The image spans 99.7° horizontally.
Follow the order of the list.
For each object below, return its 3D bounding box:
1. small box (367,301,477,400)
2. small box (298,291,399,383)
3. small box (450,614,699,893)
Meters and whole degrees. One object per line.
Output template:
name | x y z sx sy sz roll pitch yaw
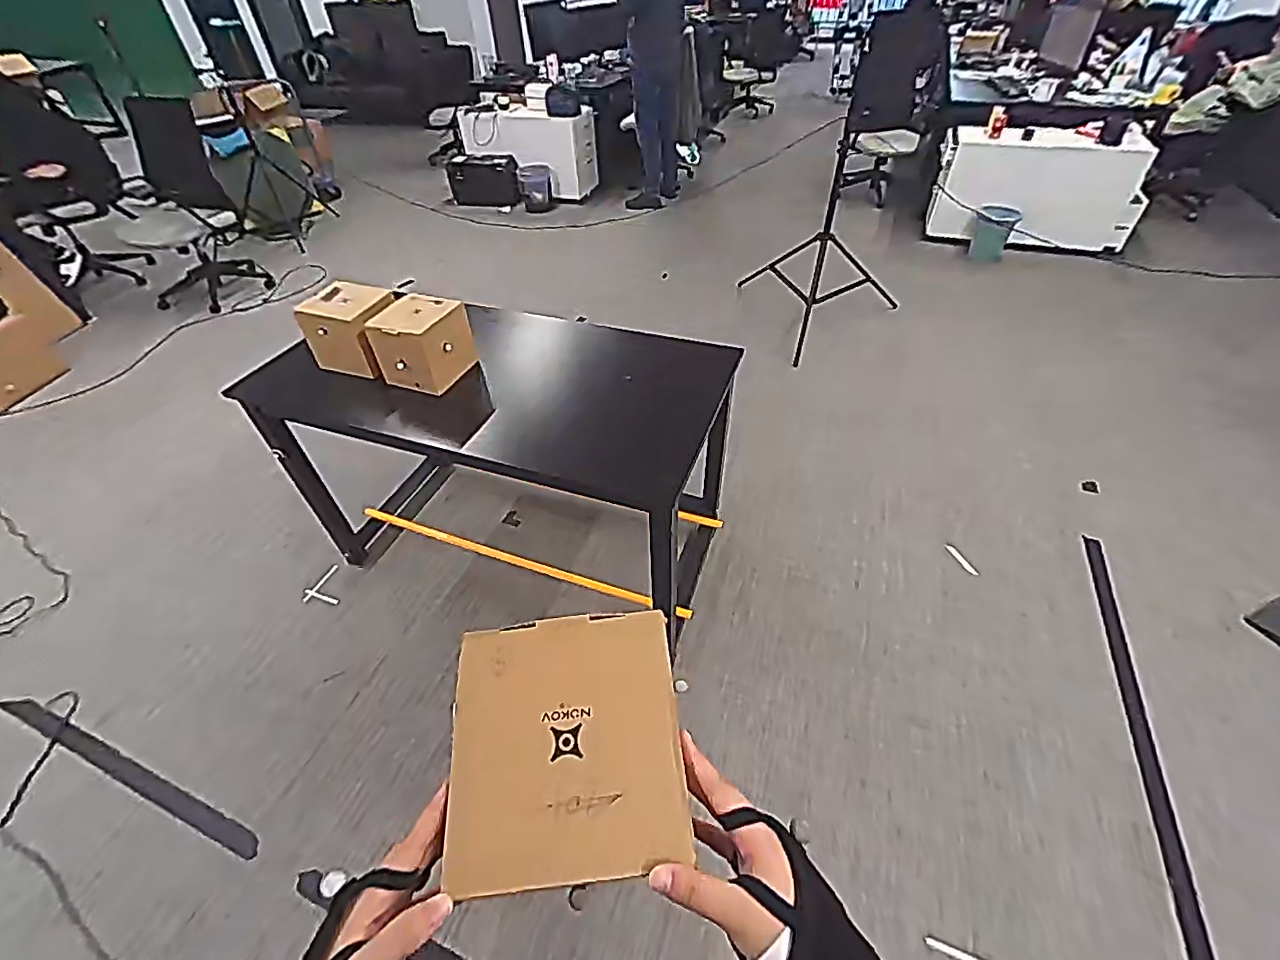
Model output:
small box | -0.537 -0.325 1.362 0.168 0.176 0.179 14 47 16
small box | -0.738 -0.374 1.420 0.179 0.176 0.168 13 46 14
small box | -0.047 0.235 0.463 0.168 0.176 0.179 -6 55 -1
